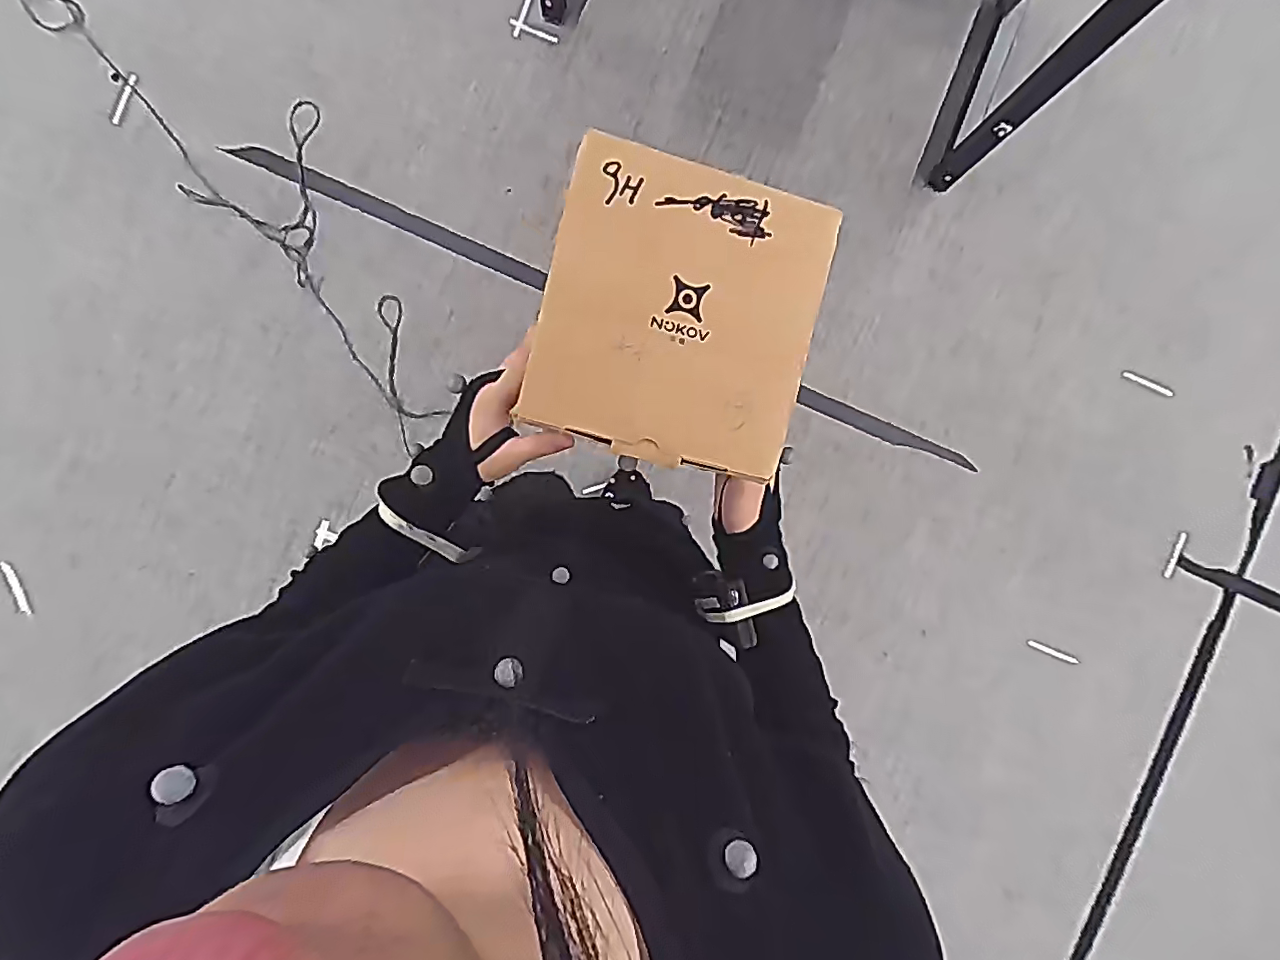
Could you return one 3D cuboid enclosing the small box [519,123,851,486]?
[{"bbox_3d":[0.019,-0.106,0.399,0.168,0.176,0.179,14,93,-8],"label":"small box"}]

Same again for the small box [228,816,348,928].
[{"bbox_3d":[-0.893,0.984,1.385,0.179,0.176,0.168,17,92,-3],"label":"small box"}]
